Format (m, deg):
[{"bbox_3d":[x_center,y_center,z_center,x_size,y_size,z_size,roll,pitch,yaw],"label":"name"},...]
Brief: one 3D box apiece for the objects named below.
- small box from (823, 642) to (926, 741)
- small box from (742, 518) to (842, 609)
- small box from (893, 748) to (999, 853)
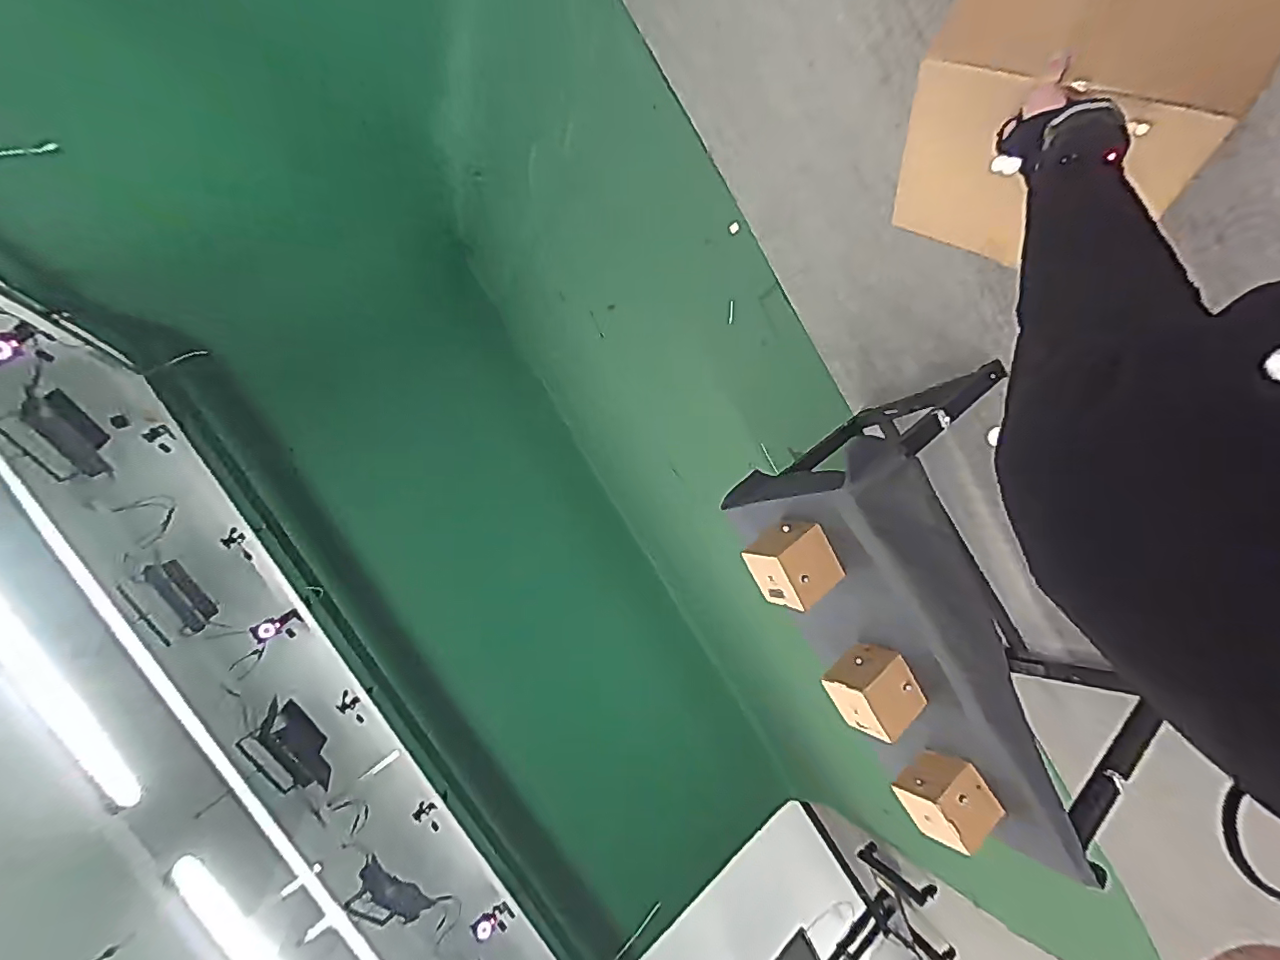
[{"bbox_3d":[0.663,0.588,1.532,0.179,0.176,0.168,59,159,-7],"label":"small box"},{"bbox_3d":[0.427,0.228,1.509,0.179,0.176,0.168,61,158,-11],"label":"small box"},{"bbox_3d":[0.871,0.894,1.532,0.168,0.176,0.179,57,161,4],"label":"small box"}]
